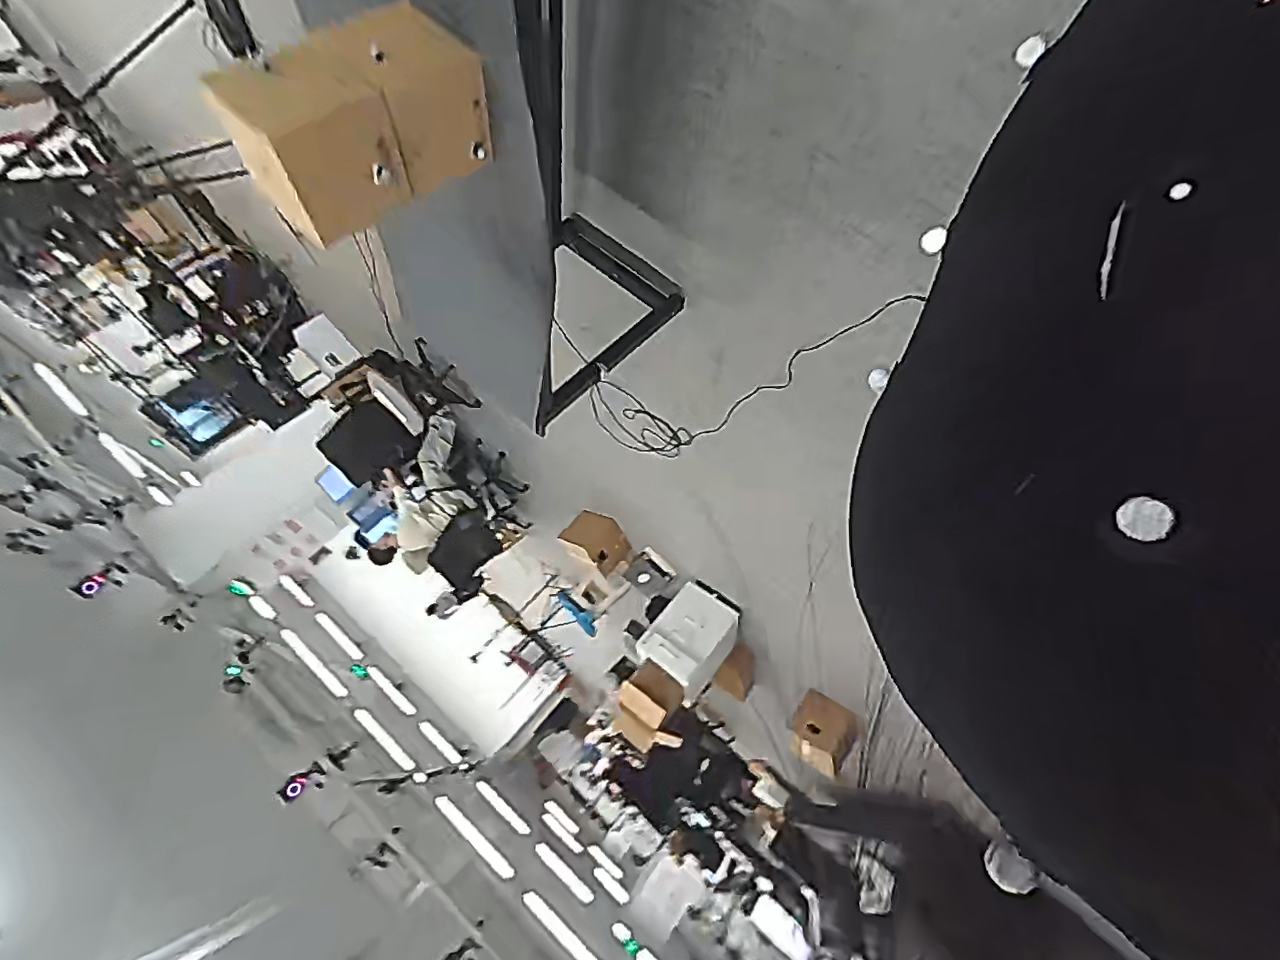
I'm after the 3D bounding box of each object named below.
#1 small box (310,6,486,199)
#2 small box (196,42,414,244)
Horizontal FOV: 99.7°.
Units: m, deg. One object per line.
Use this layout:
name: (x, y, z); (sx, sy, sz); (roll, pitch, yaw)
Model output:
small box: (-0.356, -0.588, 0.840); (0.179, 0.176, 0.168); (43, 156, 12)
small box: (-0.461, -0.484, 0.773); (0.179, 0.176, 0.168); (40, 157, 15)
